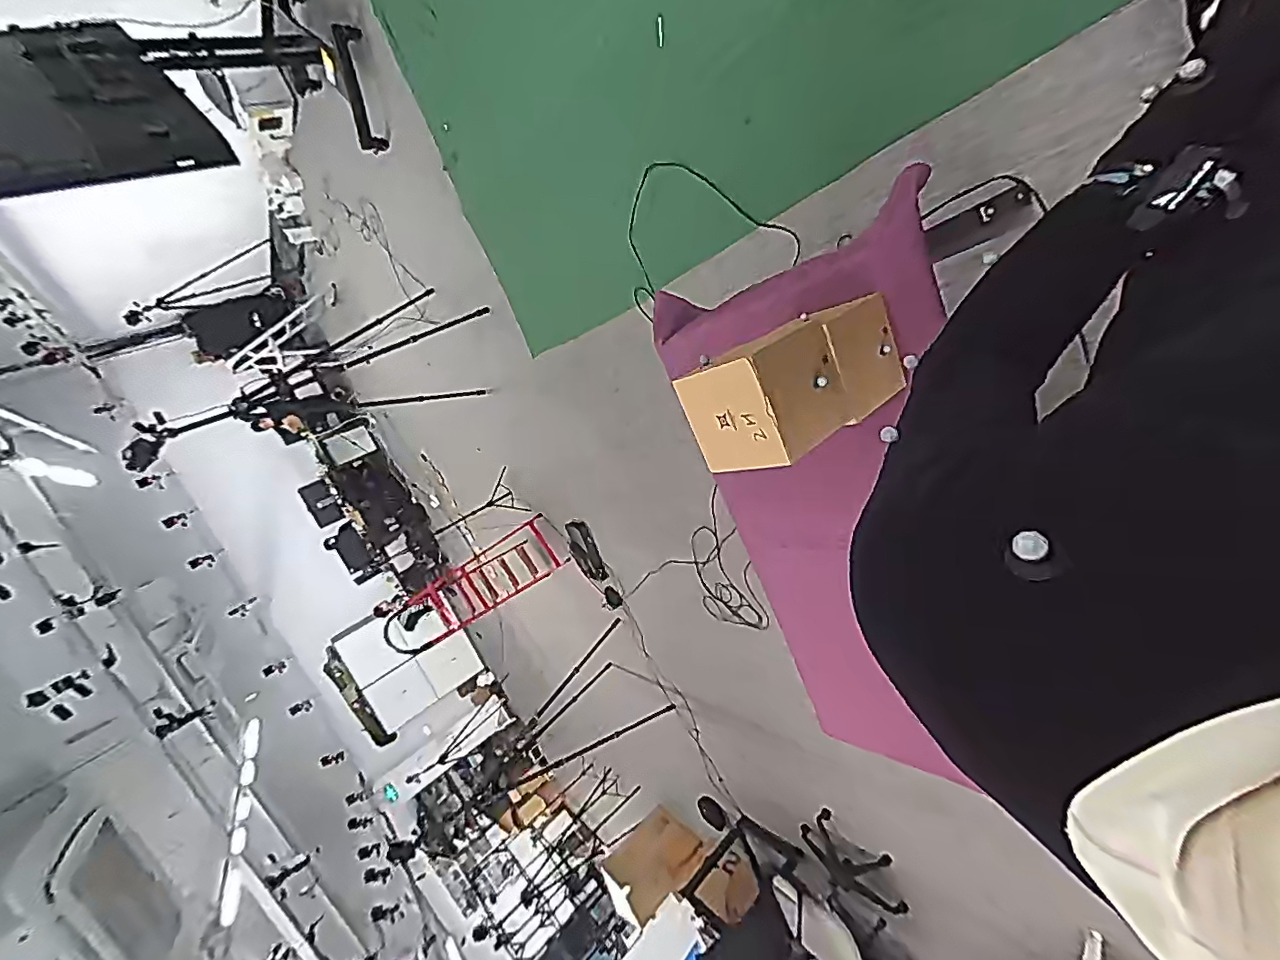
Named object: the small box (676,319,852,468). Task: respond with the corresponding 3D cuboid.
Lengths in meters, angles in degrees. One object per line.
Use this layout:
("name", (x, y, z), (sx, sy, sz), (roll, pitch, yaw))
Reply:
("small box", (0.195, -0.131, 0.848), (0.179, 0.176, 0.168), (-4, 114, 56))
